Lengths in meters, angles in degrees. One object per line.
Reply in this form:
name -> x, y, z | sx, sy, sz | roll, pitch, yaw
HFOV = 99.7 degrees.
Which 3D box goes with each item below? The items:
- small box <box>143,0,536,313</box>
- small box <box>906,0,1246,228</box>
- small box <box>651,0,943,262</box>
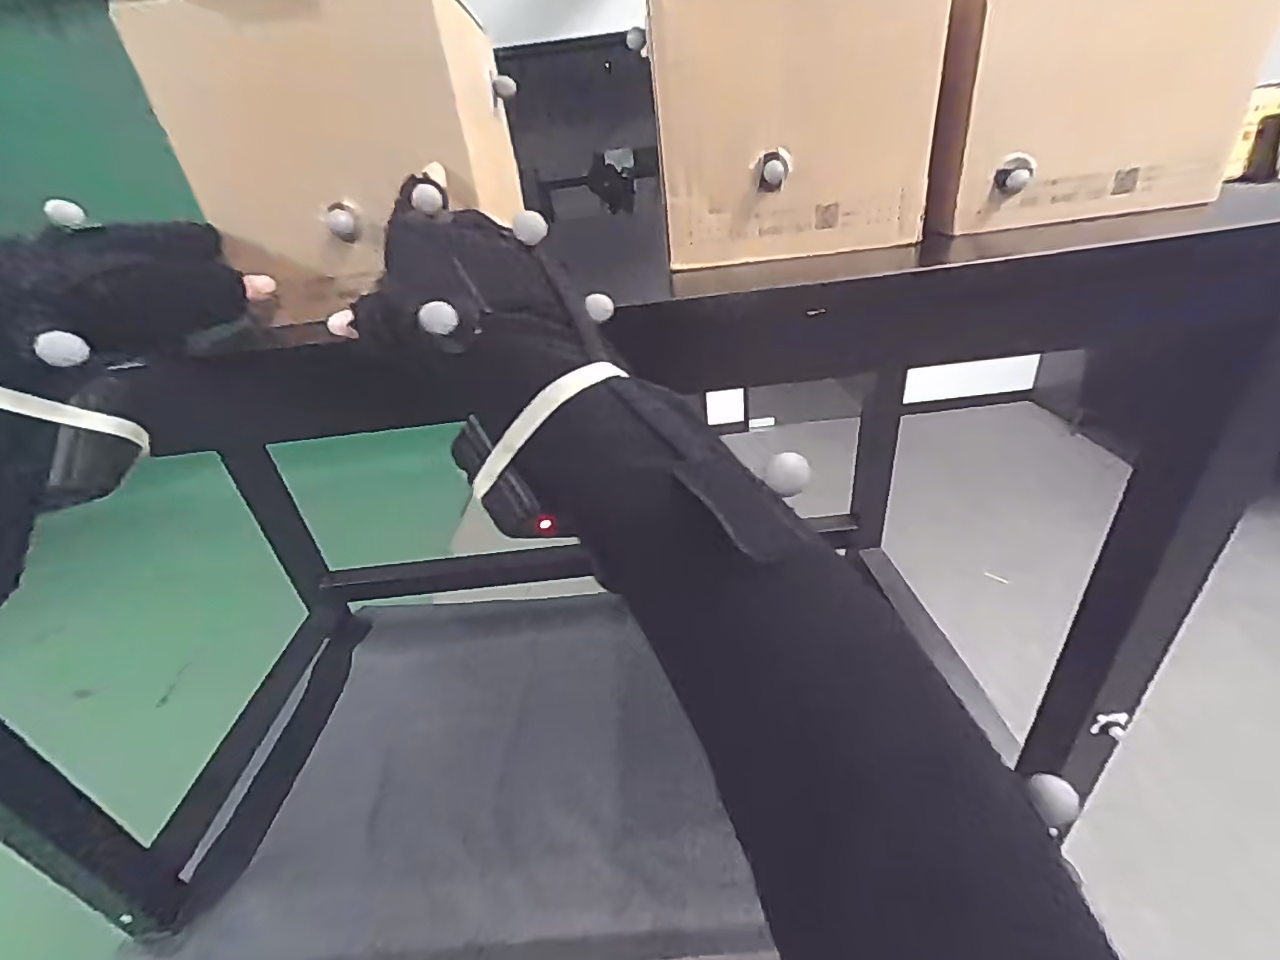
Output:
small box -> -0.179, -0.228, 0.395 | 0.168, 0.176, 0.179 | -8, 30, 1
small box -> 0.277, -0.286, 0.393 | 0.168, 0.176, 0.179 | -5, 29, 5
small box -> 0.096, -0.265, 0.404 | 0.168, 0.176, 0.179 | -4, 30, 5
